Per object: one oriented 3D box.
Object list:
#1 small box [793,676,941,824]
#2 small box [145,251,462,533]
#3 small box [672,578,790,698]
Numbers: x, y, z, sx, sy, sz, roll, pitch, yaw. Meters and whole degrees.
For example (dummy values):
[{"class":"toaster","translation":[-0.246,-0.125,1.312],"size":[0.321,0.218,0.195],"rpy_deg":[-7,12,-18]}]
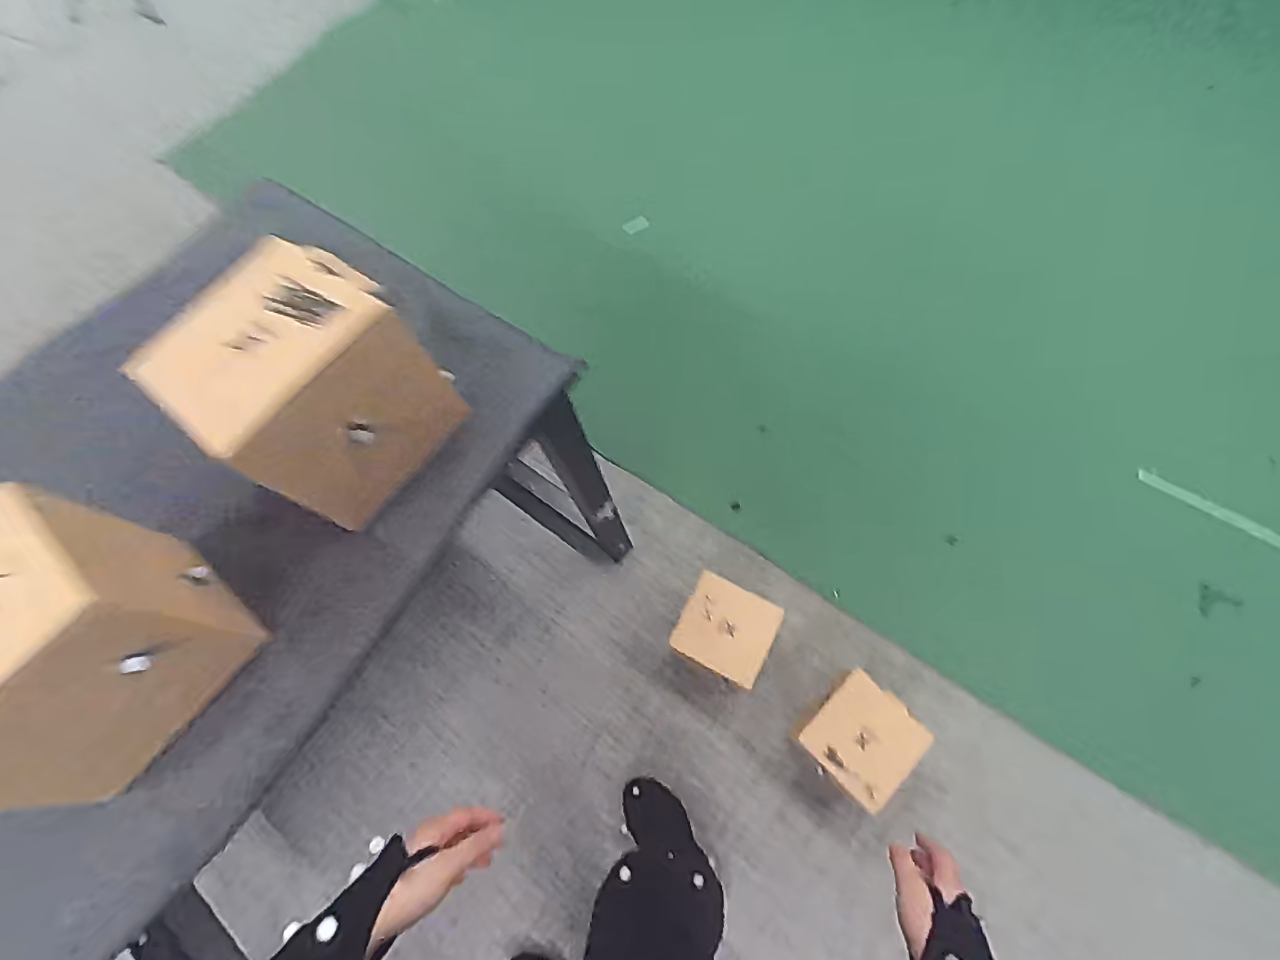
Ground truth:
[{"class":"small box","translation":[0.409,0.492,1.010],"size":[0.179,0.176,0.168],"rpy_deg":[-43,70,-12]},{"class":"small box","translation":[-0.304,-0.078,0.532],"size":[0.168,0.176,0.179],"rpy_deg":[33,75,22]},{"class":"small box","translation":[0.183,0.326,1.106],"size":[0.179,0.176,0.168],"rpy_deg":[26,71,16]}]
